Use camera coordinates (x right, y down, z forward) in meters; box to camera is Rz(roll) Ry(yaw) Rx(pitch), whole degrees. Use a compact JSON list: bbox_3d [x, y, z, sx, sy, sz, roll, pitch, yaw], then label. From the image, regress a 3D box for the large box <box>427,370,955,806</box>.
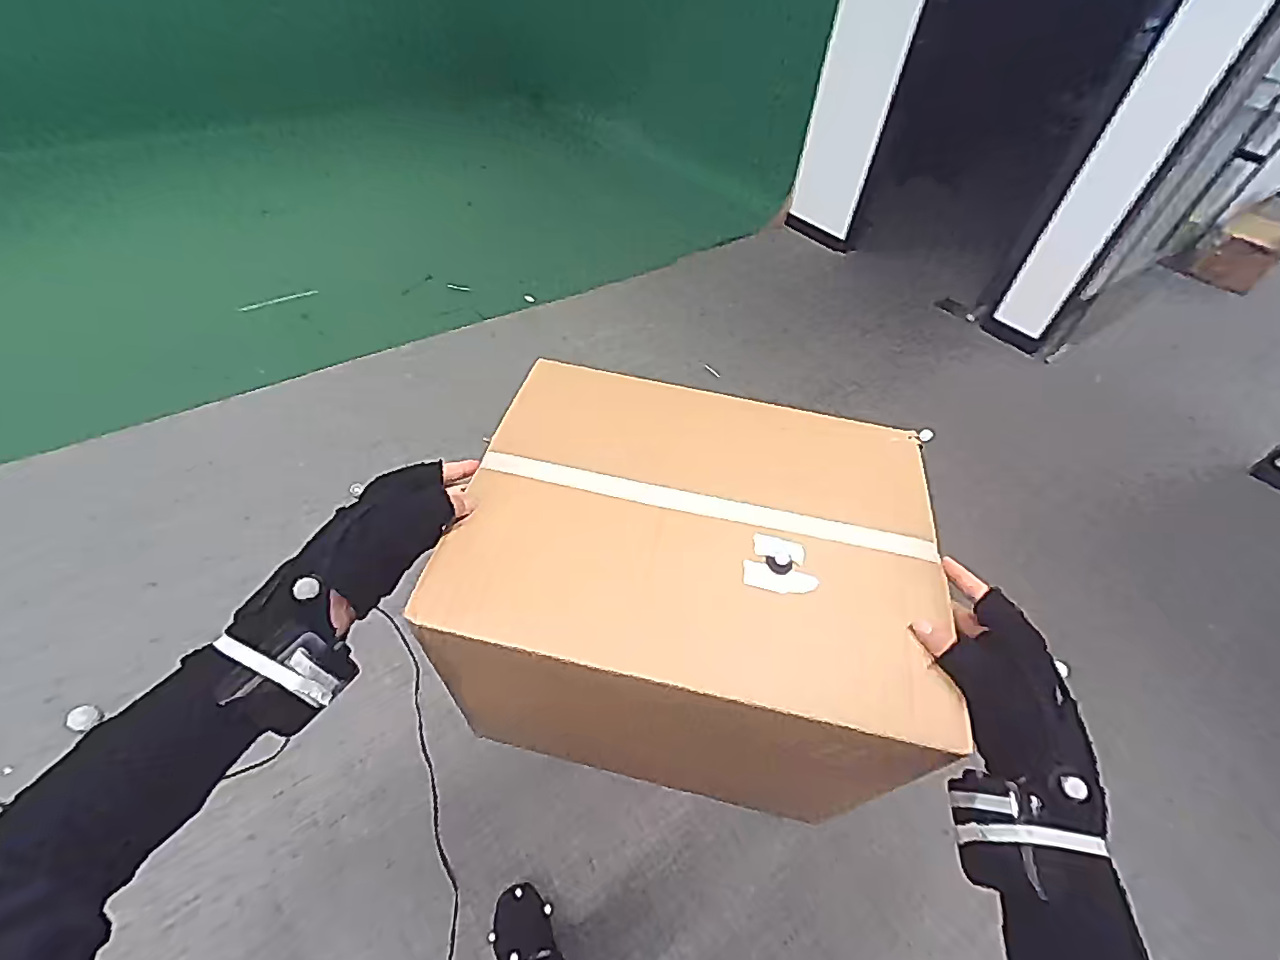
[{"bbox_3d":[0.043,0.123,0.602,0.408,0.320,0.320,12,51,3],"label":"large box"}]
